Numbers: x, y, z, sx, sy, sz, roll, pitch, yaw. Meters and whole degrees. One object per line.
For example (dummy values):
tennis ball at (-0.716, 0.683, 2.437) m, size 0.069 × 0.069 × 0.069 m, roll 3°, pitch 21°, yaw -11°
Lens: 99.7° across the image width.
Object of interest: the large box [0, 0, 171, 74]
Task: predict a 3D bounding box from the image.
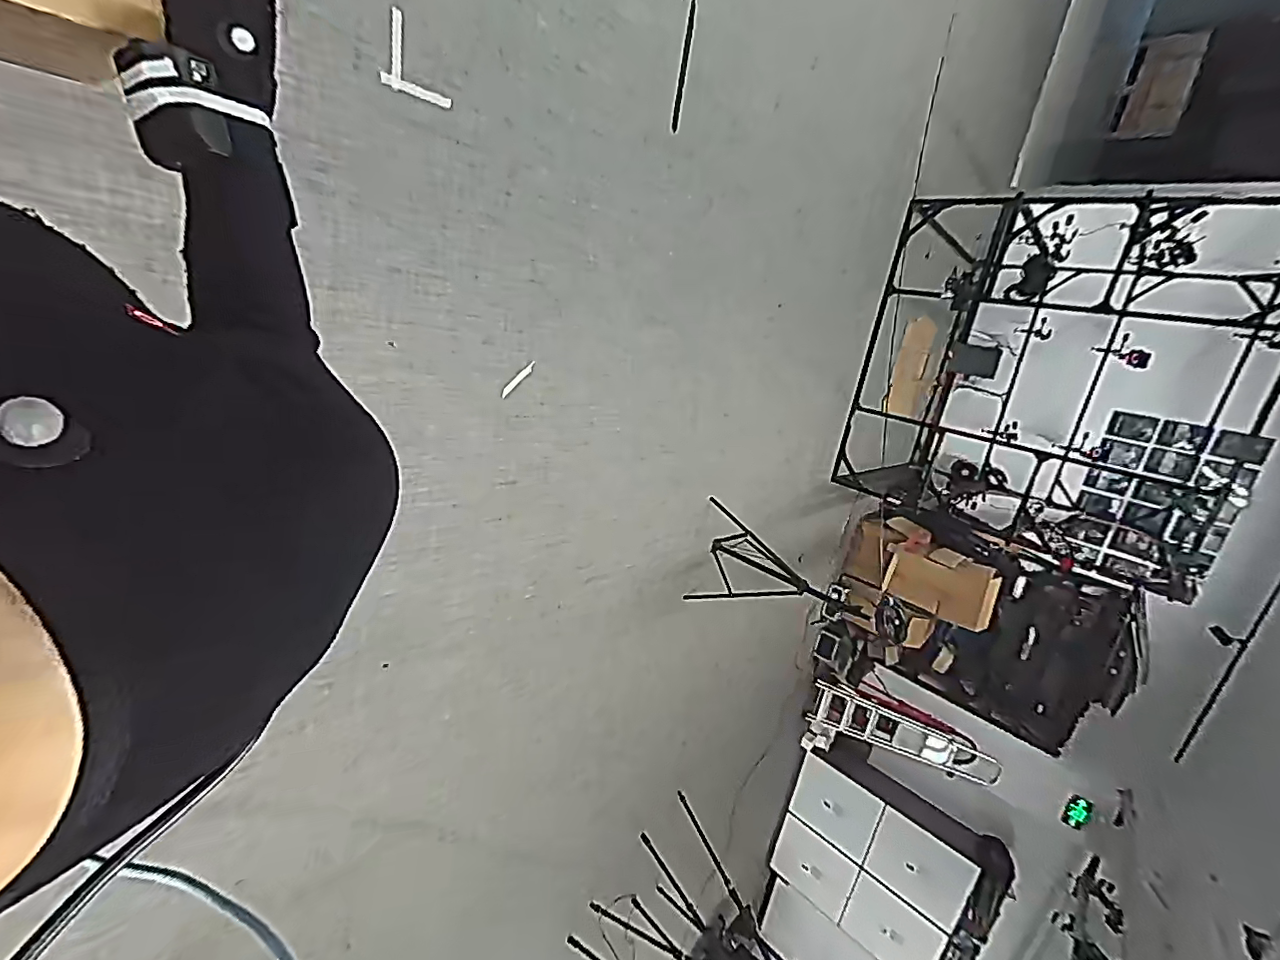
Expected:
large box at (-0.554, -0.465, 0.268) m, size 0.408 × 0.320 × 0.320 m, roll -16°, pitch 123°, yaw -49°
